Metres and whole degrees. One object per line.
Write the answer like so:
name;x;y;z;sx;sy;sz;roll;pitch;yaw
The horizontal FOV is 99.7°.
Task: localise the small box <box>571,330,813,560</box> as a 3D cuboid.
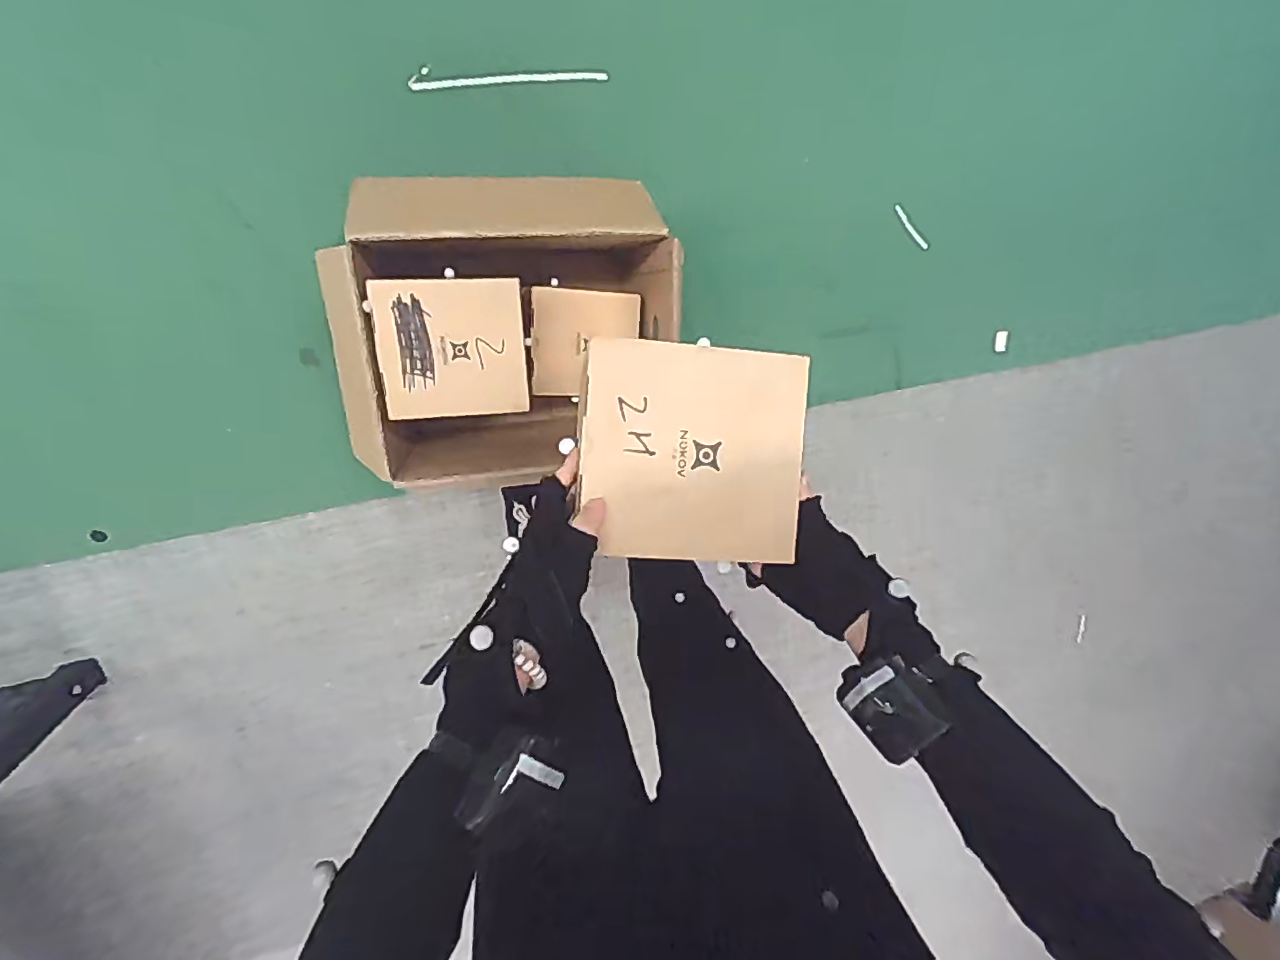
small box;0.033;-0.027;0.498;0.179;0.176;0.168;5;90;-9
